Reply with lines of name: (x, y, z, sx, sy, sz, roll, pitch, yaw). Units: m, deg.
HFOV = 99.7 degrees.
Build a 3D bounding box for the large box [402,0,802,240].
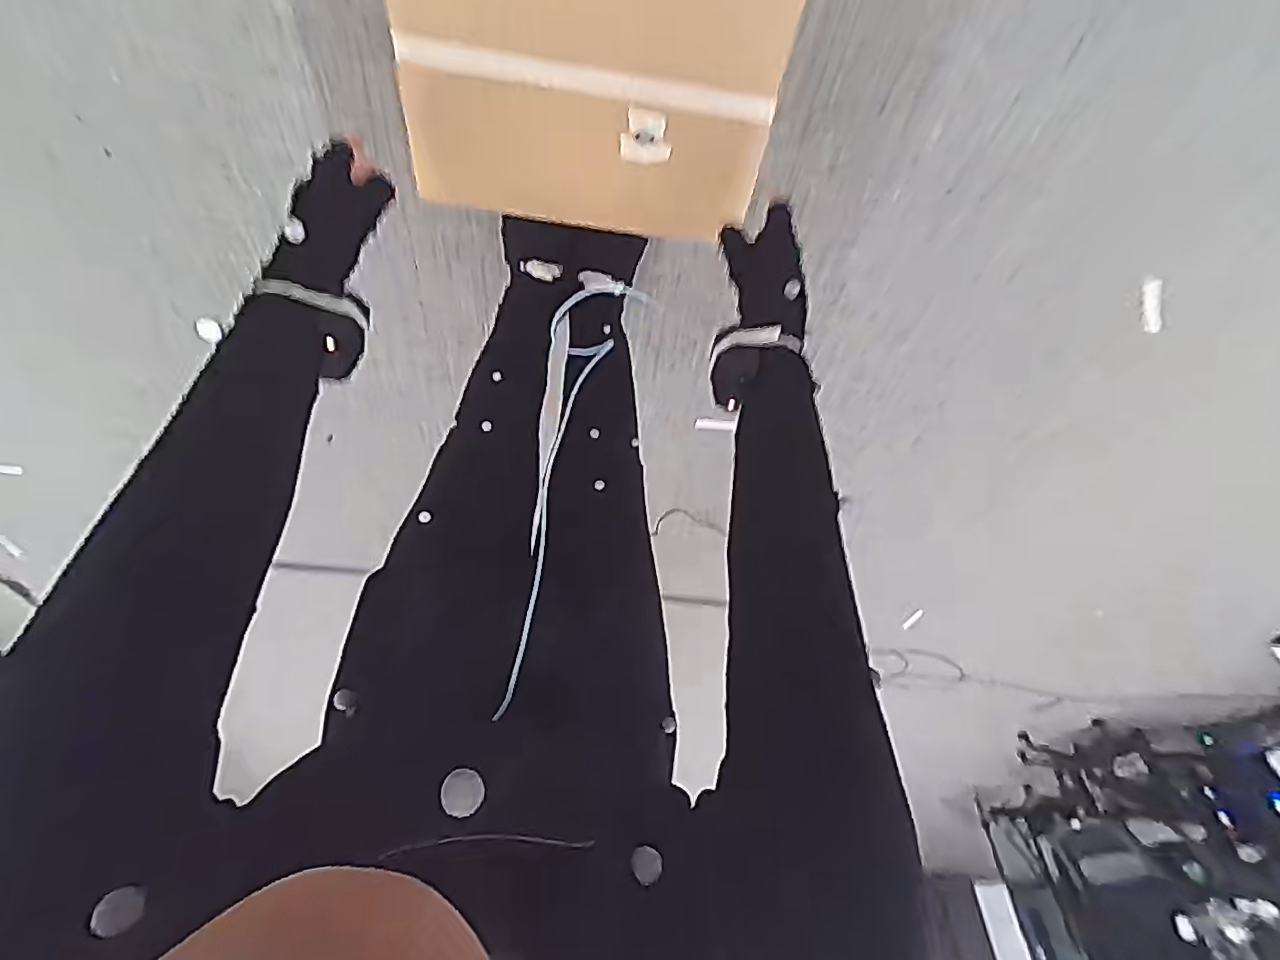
large box: (-0.048, -0.545, 0.685, 0.408, 0.320, 0.320, 6, 139, -6)
